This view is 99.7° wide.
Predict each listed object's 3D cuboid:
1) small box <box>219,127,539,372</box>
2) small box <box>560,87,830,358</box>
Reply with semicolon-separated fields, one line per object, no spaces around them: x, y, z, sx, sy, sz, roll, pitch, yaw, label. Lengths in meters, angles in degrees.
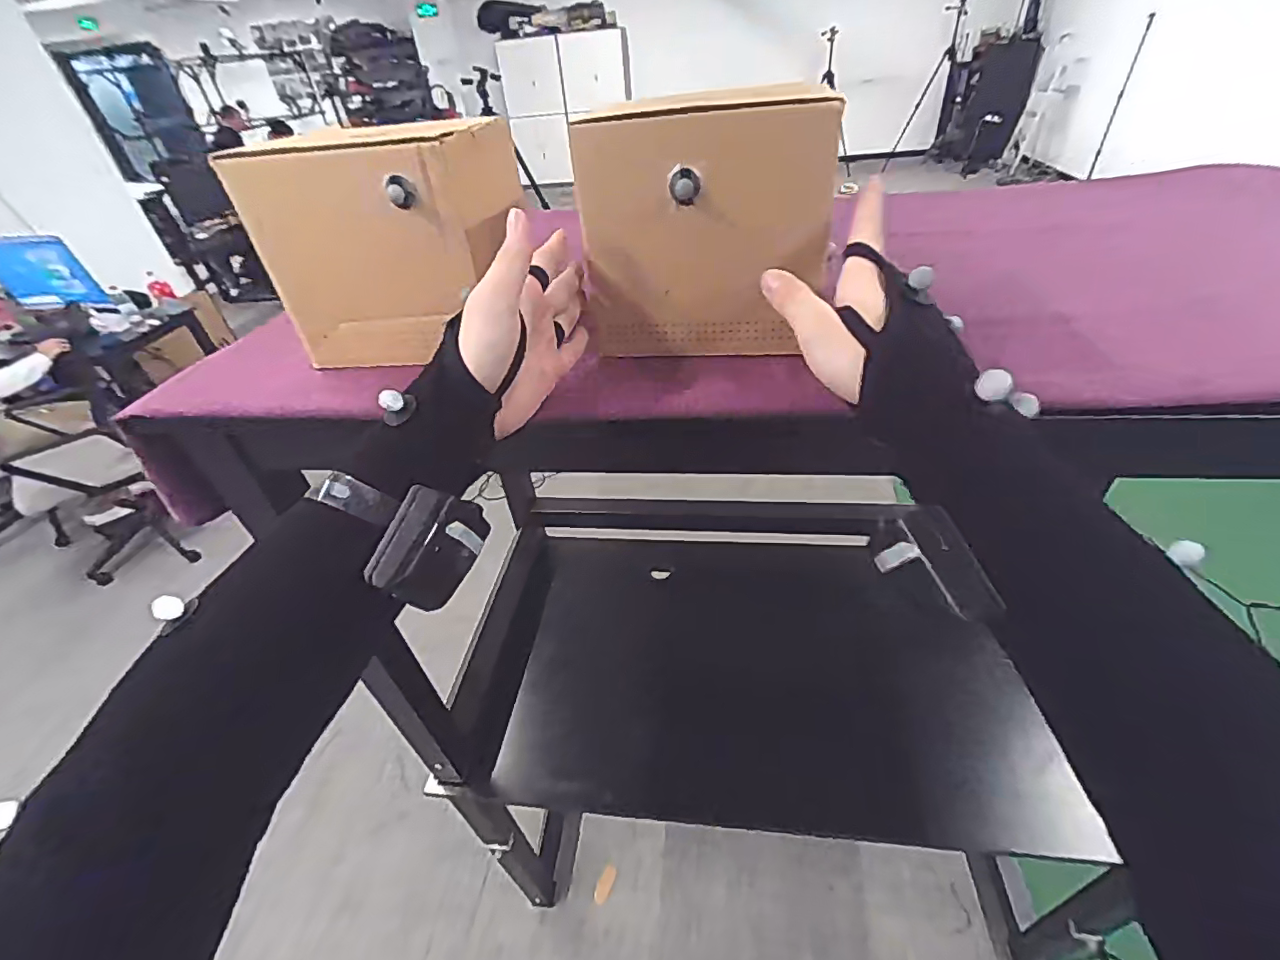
-0.207;-0.207;0.490;0.179;0.176;0.168;-1;38;6;small box
0.053;-0.211;0.450;0.179;0.176;0.168;1;39;11;small box
